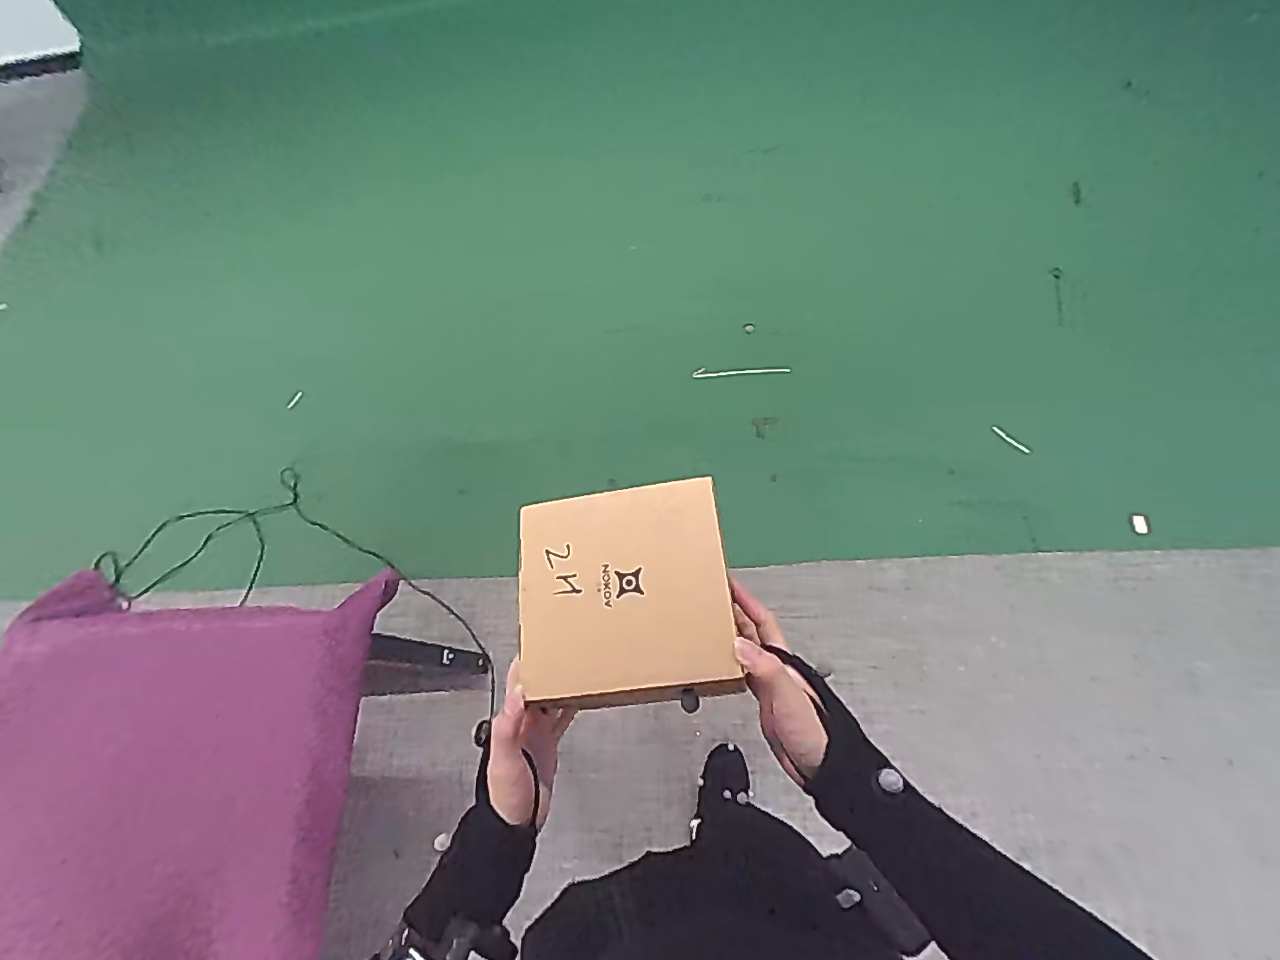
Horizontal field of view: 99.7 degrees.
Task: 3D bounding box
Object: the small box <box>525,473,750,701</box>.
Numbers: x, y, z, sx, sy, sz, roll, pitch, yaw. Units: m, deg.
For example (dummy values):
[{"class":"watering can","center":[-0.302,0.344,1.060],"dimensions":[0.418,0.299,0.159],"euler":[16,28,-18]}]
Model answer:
[{"class":"small box","center":[0.006,0.112,0.513],"dimensions":[0.179,0.176,0.168],"euler":[-9,63,9]}]
